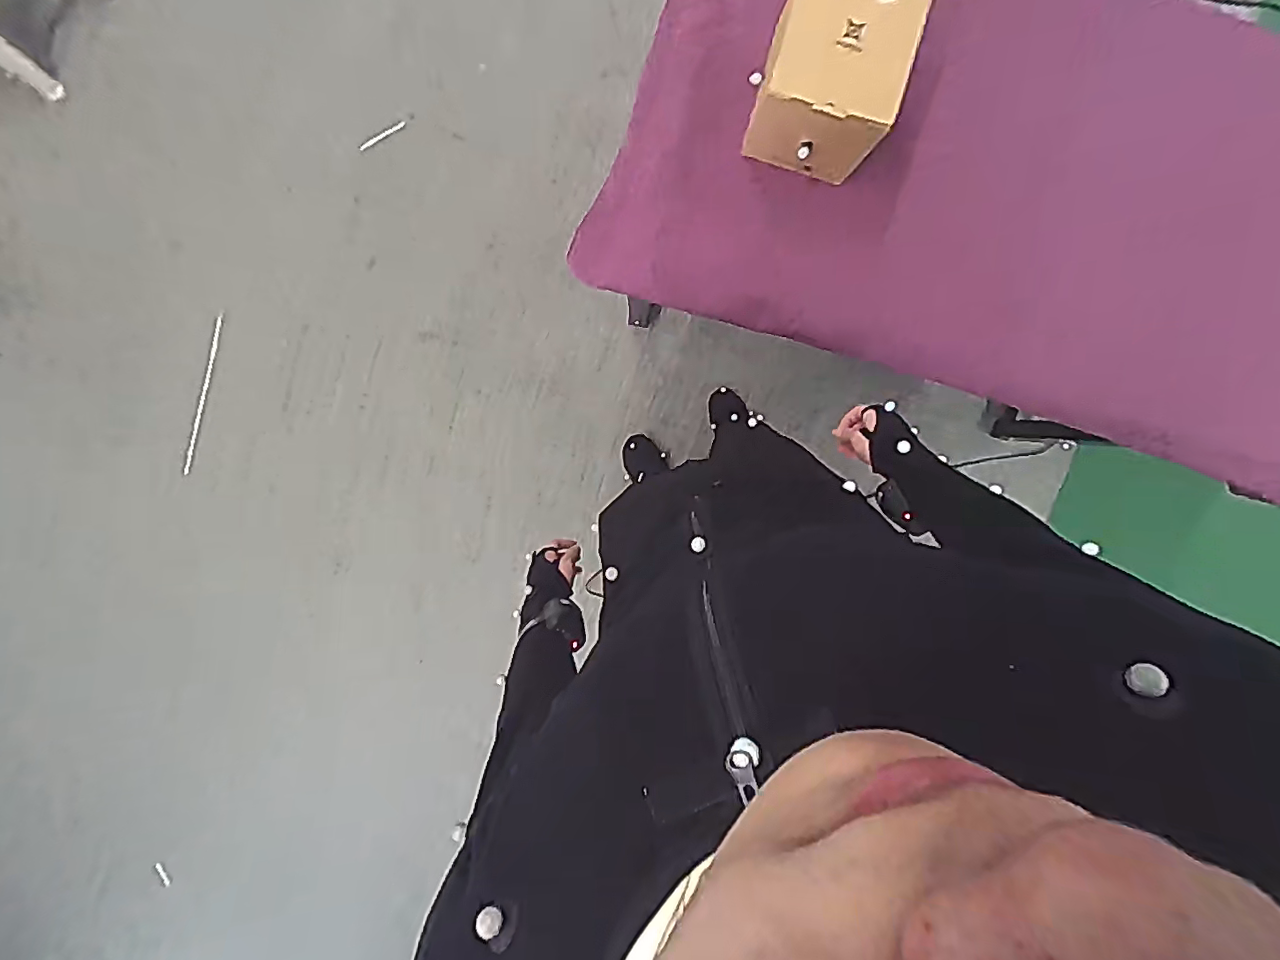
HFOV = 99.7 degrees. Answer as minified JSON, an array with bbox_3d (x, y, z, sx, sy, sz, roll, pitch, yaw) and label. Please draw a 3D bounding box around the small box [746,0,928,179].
[{"bbox_3d":[0.254,-0.551,0.743,0.168,0.176,0.179,15,97,-3],"label":"small box"}]
